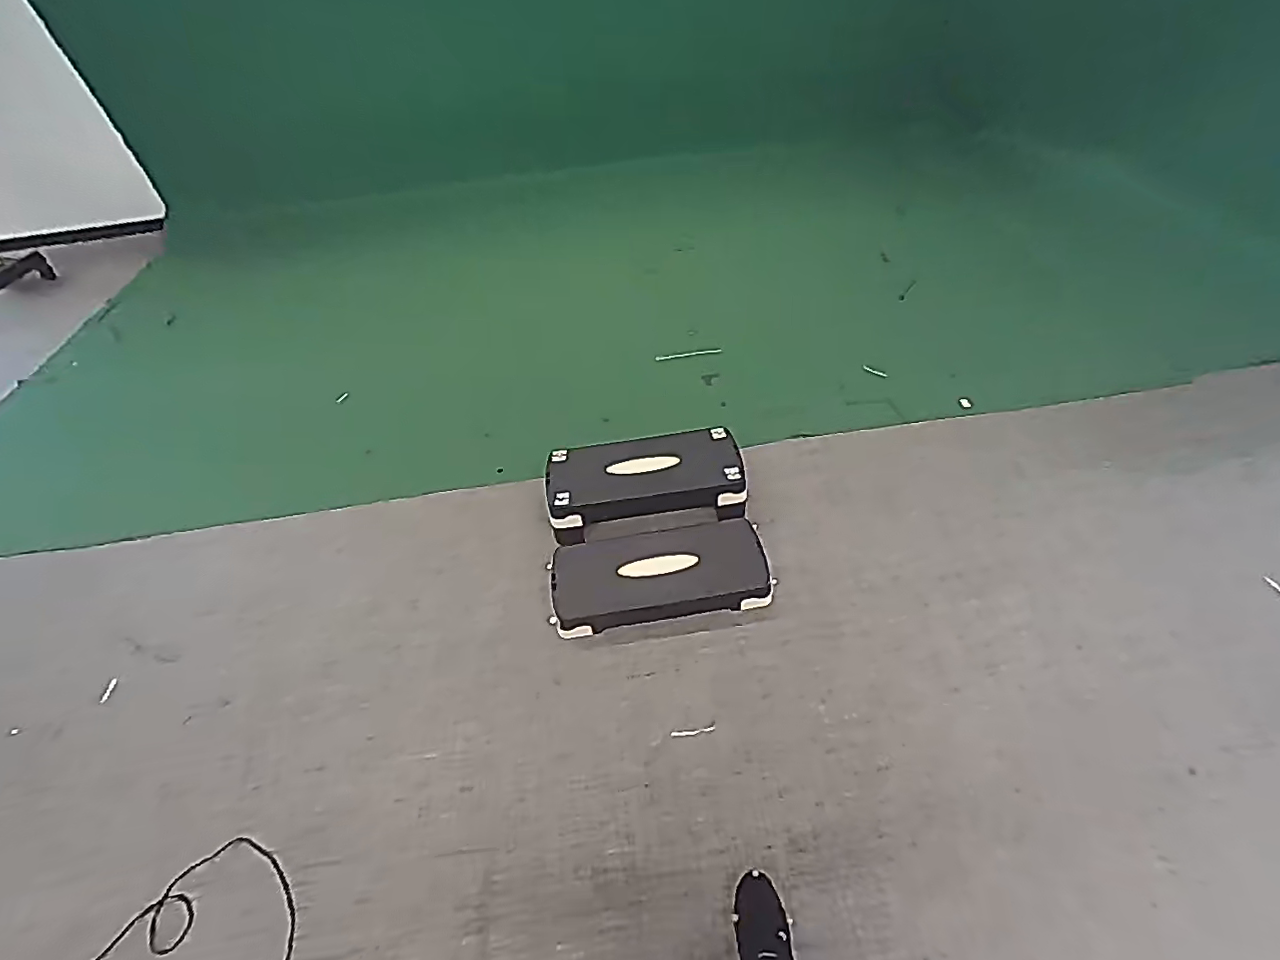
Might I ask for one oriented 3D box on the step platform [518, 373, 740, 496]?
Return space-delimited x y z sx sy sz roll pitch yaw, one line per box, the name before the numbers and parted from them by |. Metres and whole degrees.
step platform | -0.034 -0.147 1.743 0.684 0.204 0.286 -9 48 -2
